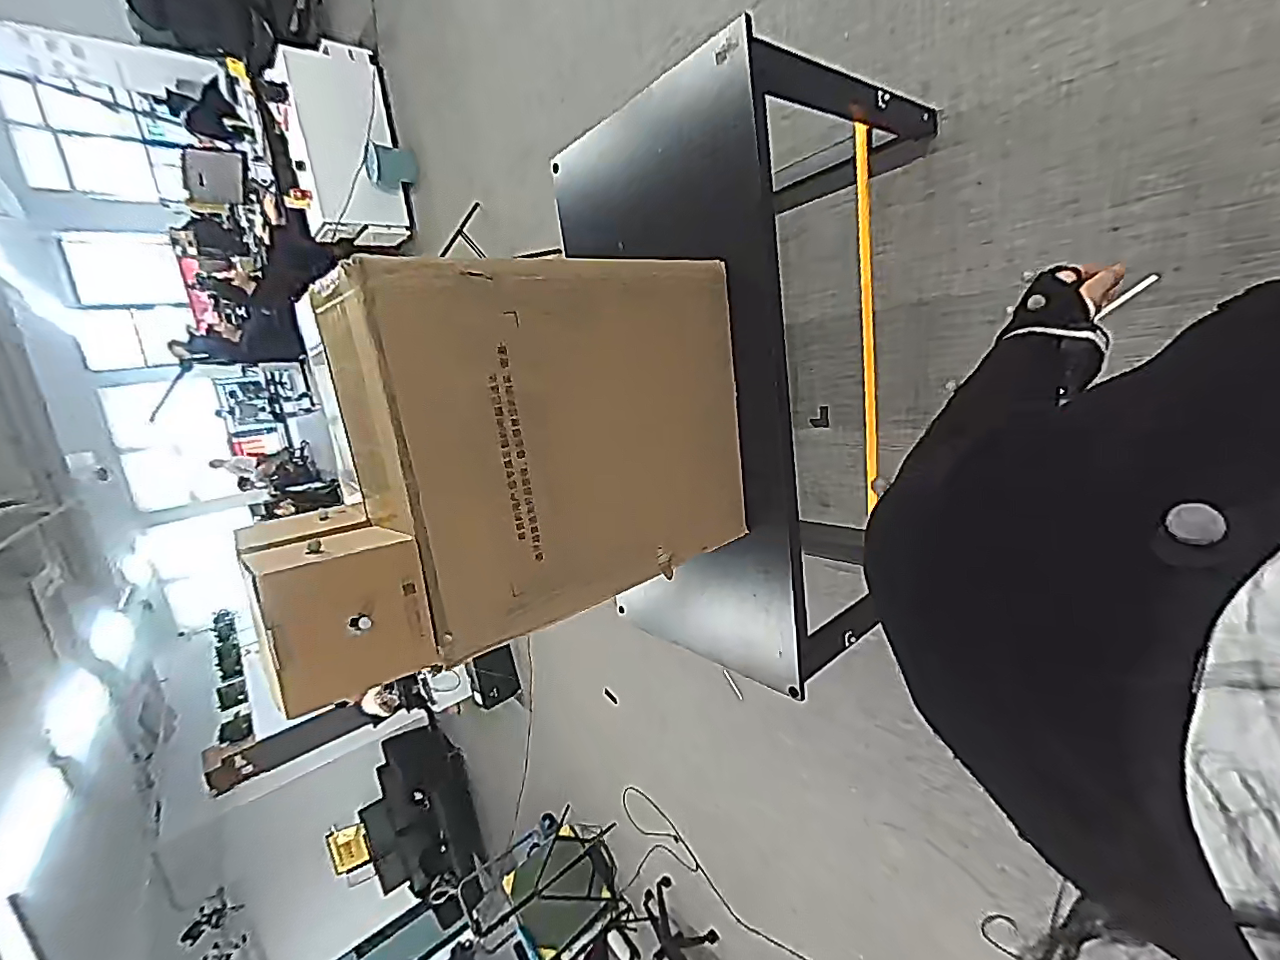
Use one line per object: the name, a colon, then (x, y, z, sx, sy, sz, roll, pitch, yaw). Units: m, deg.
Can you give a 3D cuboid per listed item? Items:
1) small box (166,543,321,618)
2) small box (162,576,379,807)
small box: (-0.546, 0.210, 0.783, 0.168, 0.176, 0.179, 10, 110, 52)
small box: (-0.417, 0.220, 0.621, 0.179, 0.176, 0.168, -1, 101, 49)
